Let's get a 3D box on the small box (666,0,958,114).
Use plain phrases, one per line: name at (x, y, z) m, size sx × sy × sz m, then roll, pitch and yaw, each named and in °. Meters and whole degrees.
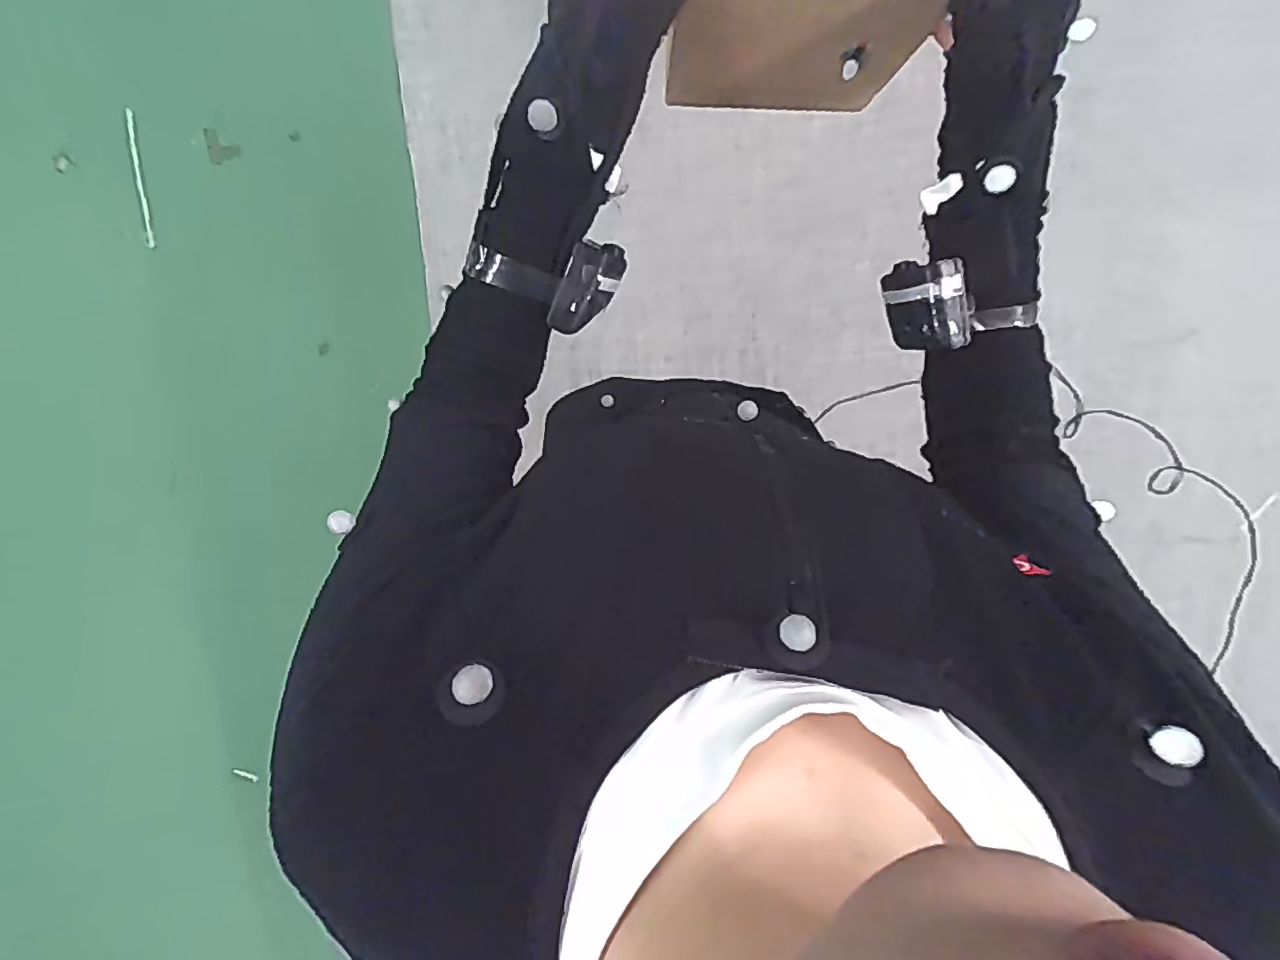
small box at (0.112, -0.388, 0.382) m, size 0.179 × 0.176 × 0.168 m, roll 0°, pitch 100°, yaw 0°
